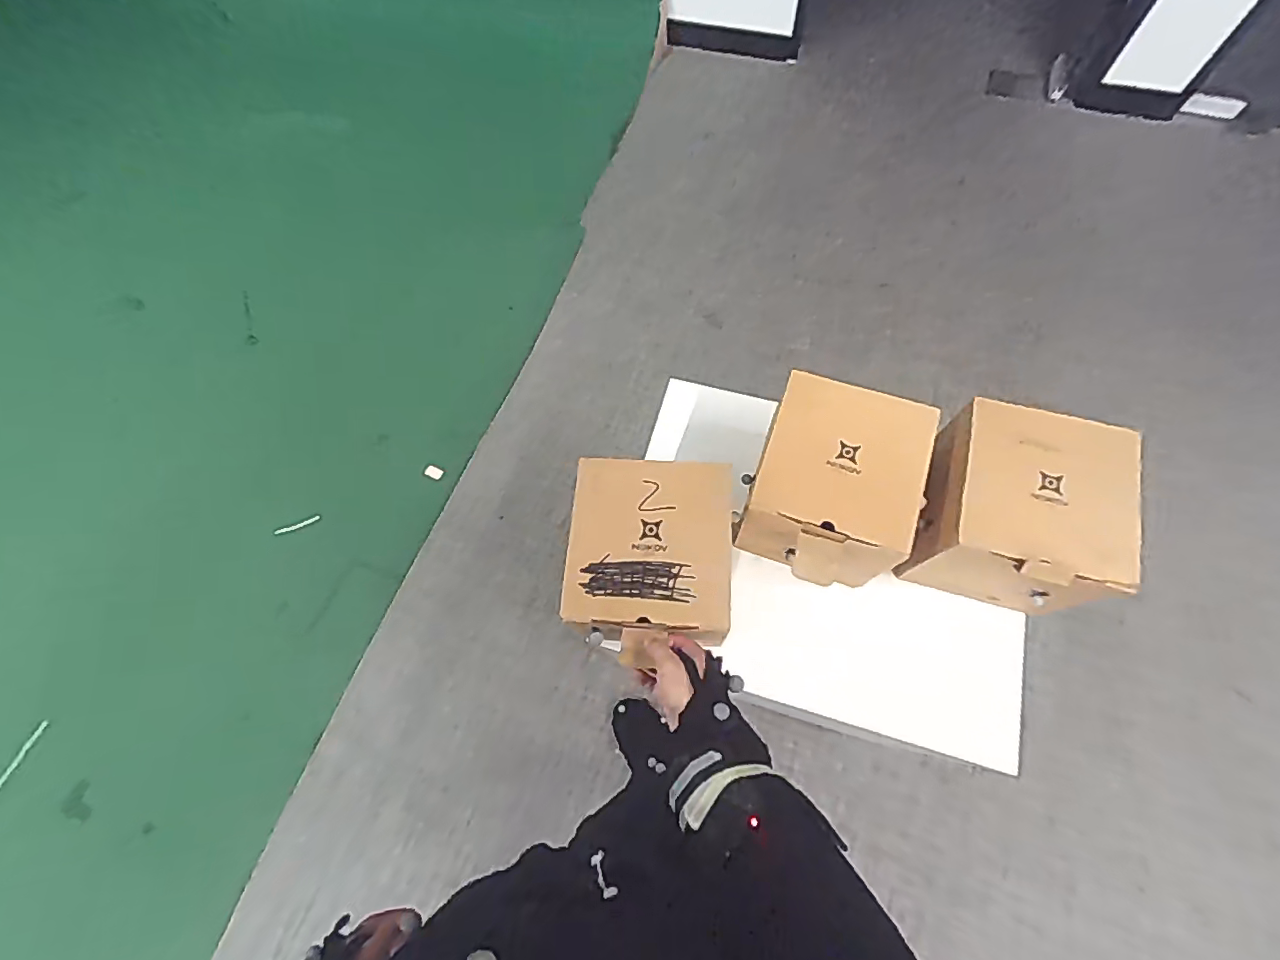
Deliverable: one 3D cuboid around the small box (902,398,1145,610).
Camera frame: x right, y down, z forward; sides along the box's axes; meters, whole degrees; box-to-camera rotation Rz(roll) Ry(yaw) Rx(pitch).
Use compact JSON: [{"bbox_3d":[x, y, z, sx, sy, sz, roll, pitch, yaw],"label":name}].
[{"bbox_3d":[0.418,0.037,0.616,0.168,0.176,0.179,15,70,9],"label":"small box"}]
